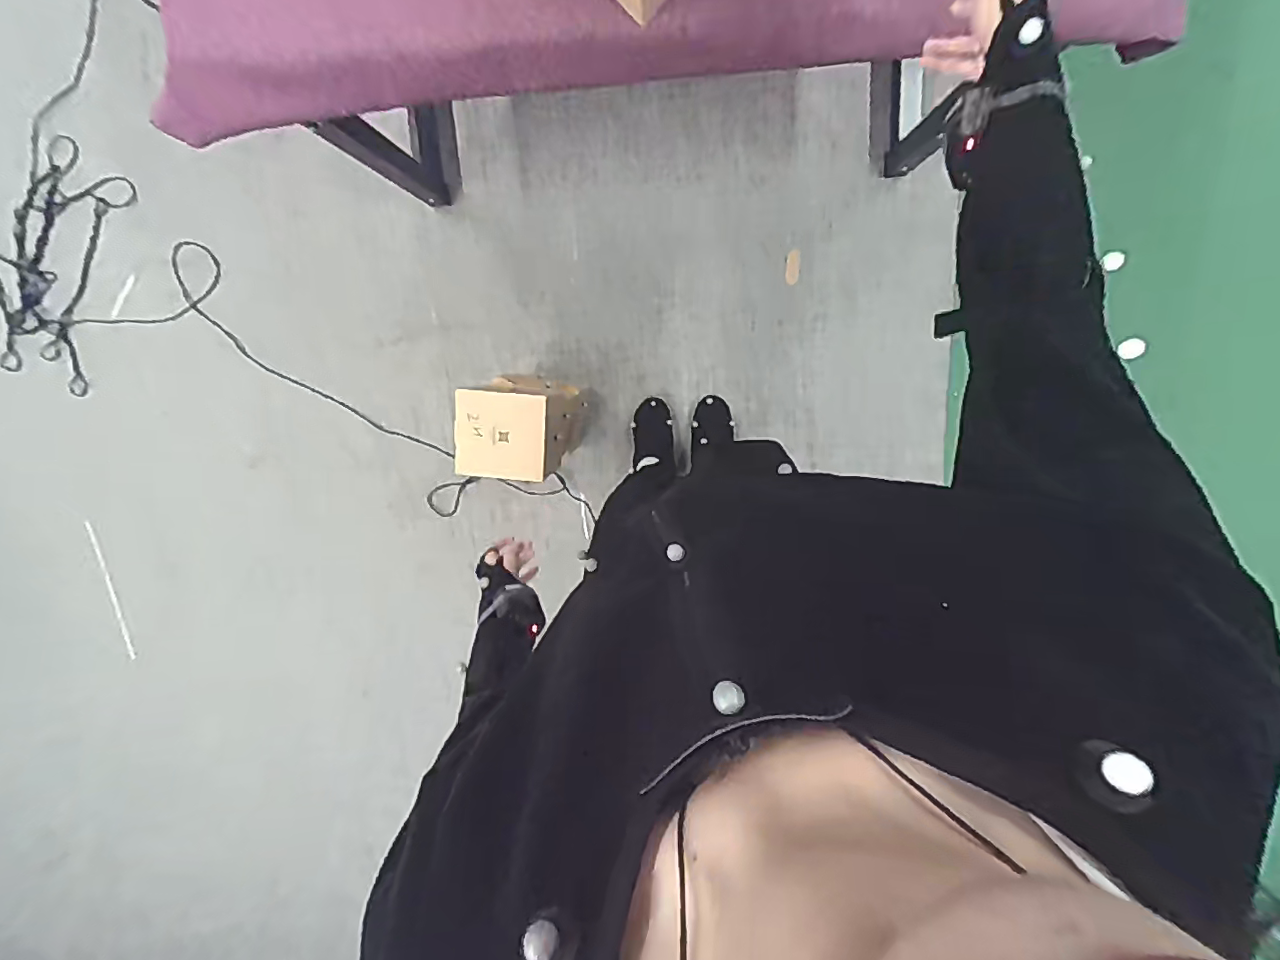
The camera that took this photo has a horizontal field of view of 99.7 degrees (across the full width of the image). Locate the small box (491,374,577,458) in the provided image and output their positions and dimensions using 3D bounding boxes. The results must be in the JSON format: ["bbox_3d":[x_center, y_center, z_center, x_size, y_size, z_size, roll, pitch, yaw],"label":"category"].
[{"bbox_3d":[-0.255,-0.137,1.250,0.168,0.176,0.179,18,103,1],"label":"small box"}]

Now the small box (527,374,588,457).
[{"bbox_3d":[-0.238,-0.174,1.407,0.168,0.176,0.179,12,104,1],"label":"small box"}]

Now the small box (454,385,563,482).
[{"bbox_3d":[-0.257,-0.100,1.089,0.179,0.176,0.168,6,101,3],"label":"small box"}]
